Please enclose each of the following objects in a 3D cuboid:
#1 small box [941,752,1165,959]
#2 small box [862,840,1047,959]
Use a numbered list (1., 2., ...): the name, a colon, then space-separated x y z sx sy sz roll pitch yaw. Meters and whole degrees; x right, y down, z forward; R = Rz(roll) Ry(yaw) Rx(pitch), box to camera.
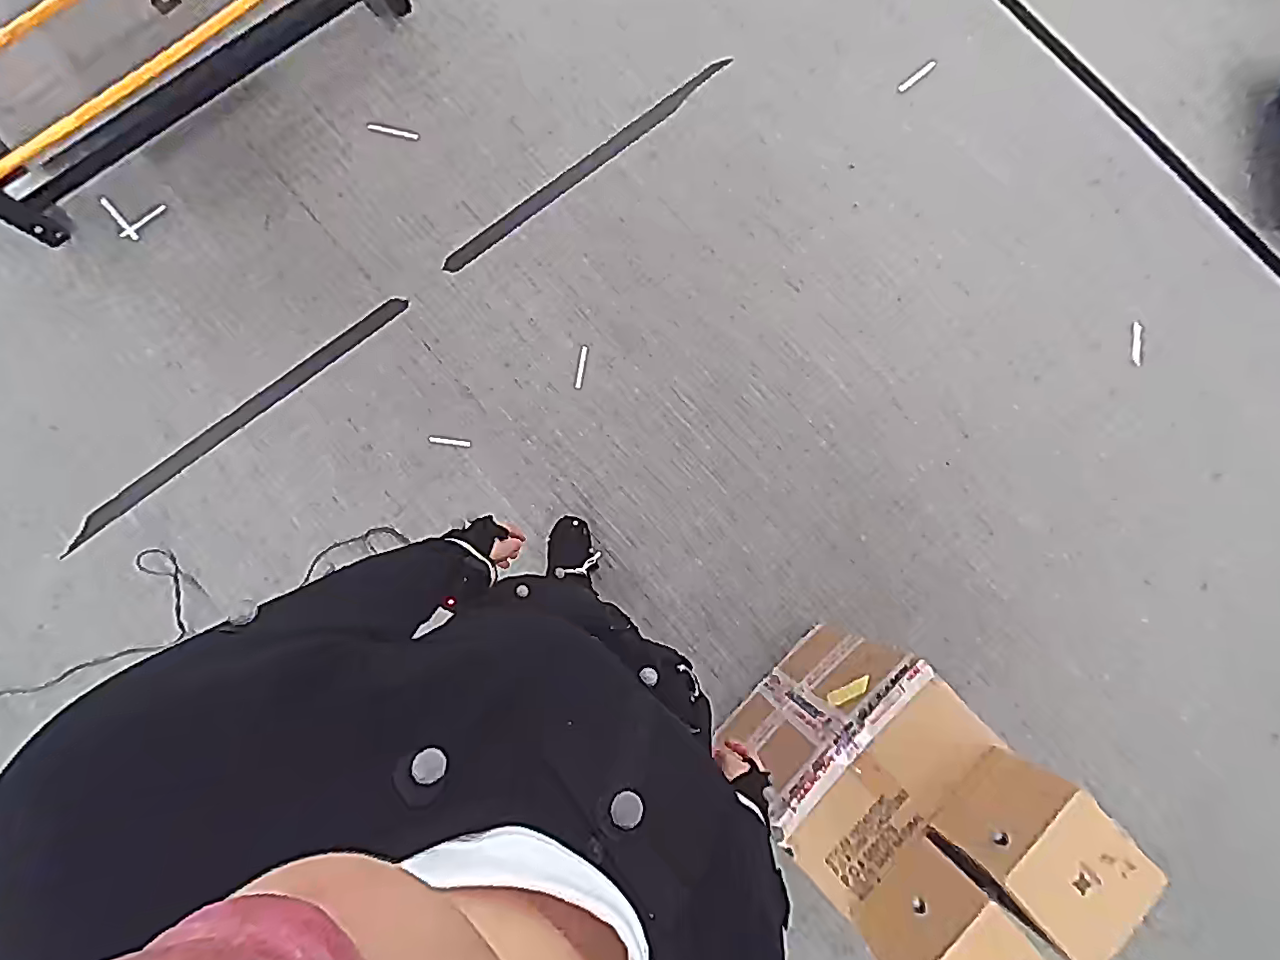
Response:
1. small box: 0.588 0.548 0.802 0.179 0.176 0.168 -41 85 -10
2. small box: 0.450 0.678 0.777 0.179 0.176 0.168 -42 85 -7
